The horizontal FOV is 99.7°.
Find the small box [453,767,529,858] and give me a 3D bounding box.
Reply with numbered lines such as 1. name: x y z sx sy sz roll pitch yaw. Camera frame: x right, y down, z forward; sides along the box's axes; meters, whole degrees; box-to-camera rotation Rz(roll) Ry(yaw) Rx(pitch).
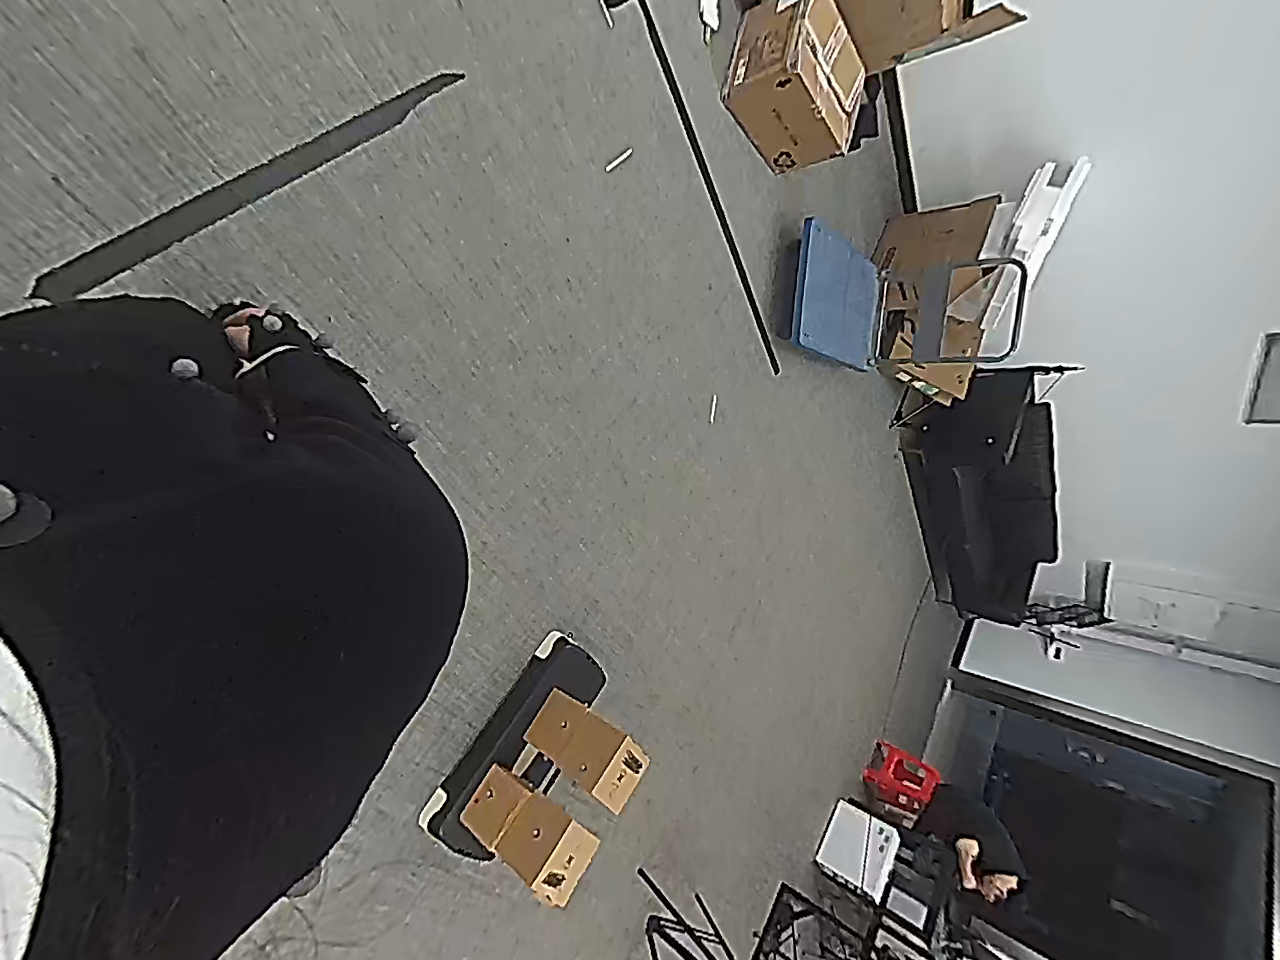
1. small box: -0.400 0.967 1.565 0.168 0.176 0.179 -56 131 -26

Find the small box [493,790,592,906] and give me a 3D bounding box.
1. small box: -0.271 0.991 1.465 0.179 0.176 0.168 -52 130 -29
